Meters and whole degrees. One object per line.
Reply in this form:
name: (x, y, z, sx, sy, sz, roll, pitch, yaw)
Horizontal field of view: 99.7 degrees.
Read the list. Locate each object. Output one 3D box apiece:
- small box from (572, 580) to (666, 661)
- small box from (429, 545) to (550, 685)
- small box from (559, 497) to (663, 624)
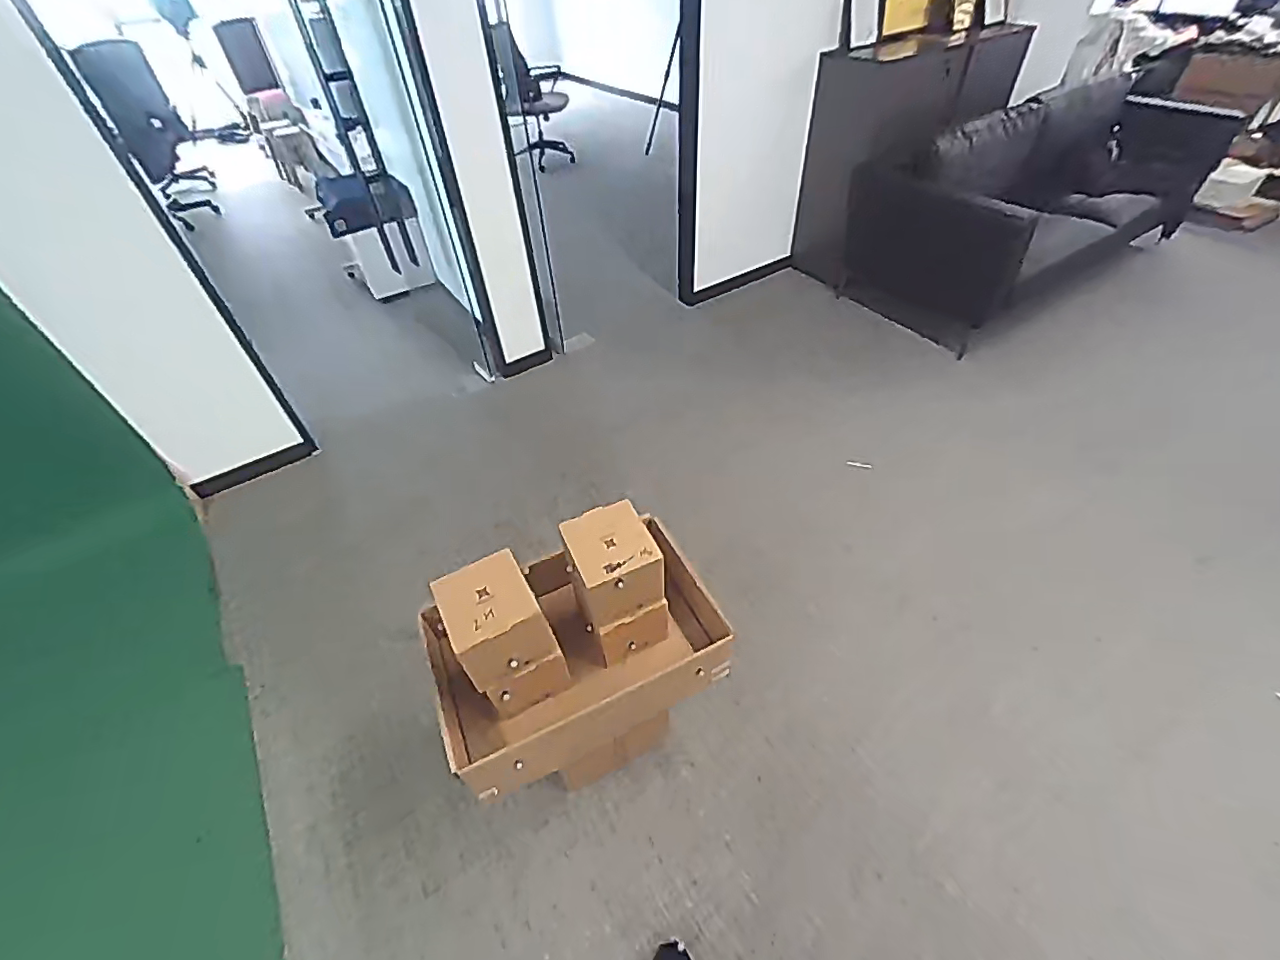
small box: (-0.053, 0.288, 1.267, 0.168, 0.176, 0.179, -22, 51, -17)
small box: (-0.293, 0.267, 1.068, 0.168, 0.176, 0.179, -24, 51, -18)
small box: (-0.062, 0.172, 1.150, 0.168, 0.176, 0.179, -20, 50, -15)
